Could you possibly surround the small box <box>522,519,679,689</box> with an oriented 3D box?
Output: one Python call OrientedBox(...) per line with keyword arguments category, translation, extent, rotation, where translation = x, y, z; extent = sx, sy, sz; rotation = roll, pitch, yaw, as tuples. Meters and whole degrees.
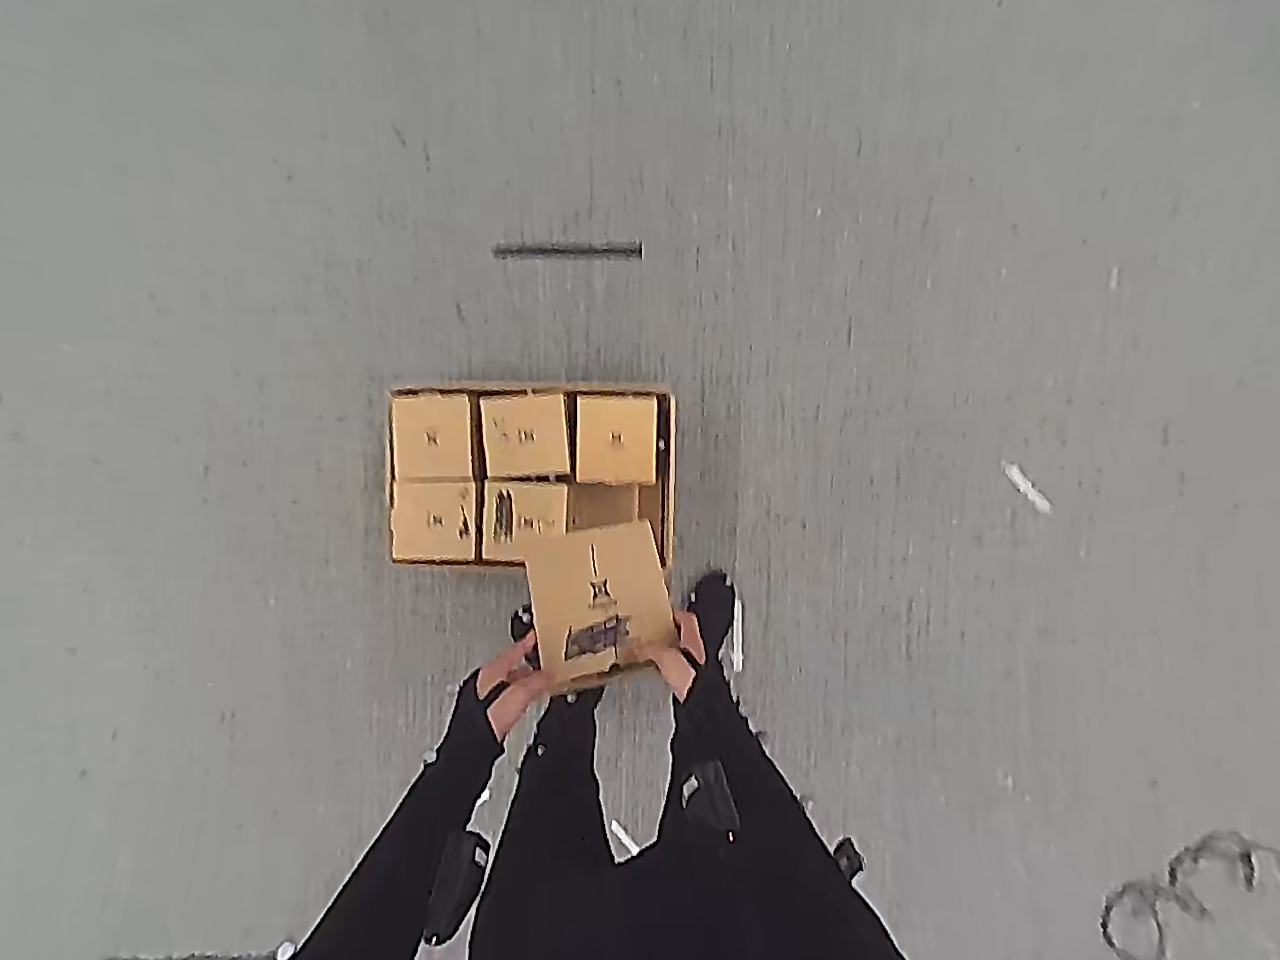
OrientedBox(category="small box", translation=(-0.058, 0.172, 0.721), extent=(0.168, 0.176, 0.179), rotation=(-9, 66, -12))
